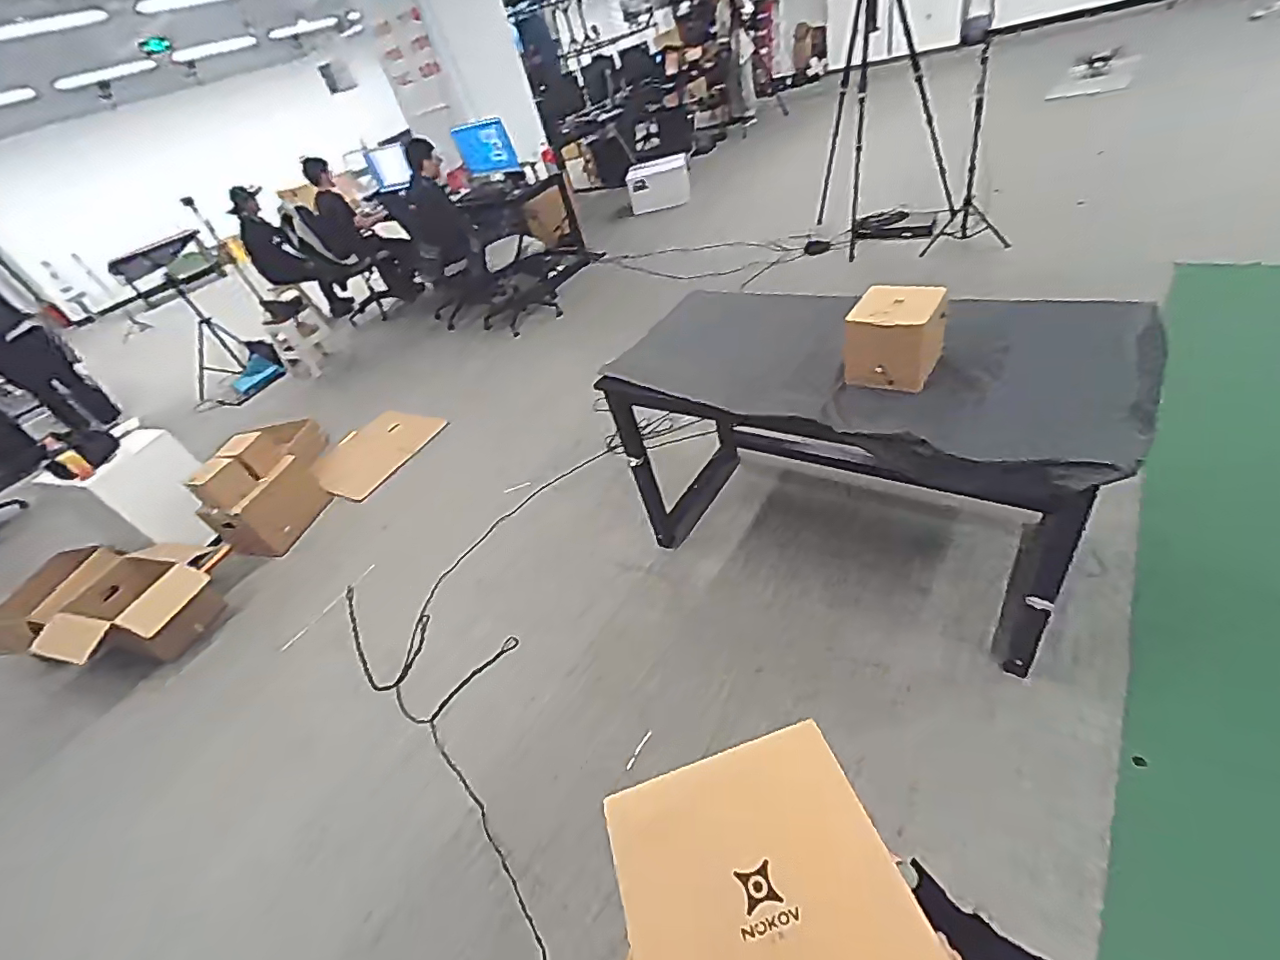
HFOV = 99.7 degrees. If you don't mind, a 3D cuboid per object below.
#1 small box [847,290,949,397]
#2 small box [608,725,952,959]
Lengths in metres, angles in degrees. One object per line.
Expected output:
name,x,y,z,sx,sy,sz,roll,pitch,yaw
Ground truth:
small box,0.586,-0.316,1.242,0.168,0.176,0.179,17,51,36
small box,0.088,0.313,0.369,0.168,0.176,0.179,-18,37,-6
